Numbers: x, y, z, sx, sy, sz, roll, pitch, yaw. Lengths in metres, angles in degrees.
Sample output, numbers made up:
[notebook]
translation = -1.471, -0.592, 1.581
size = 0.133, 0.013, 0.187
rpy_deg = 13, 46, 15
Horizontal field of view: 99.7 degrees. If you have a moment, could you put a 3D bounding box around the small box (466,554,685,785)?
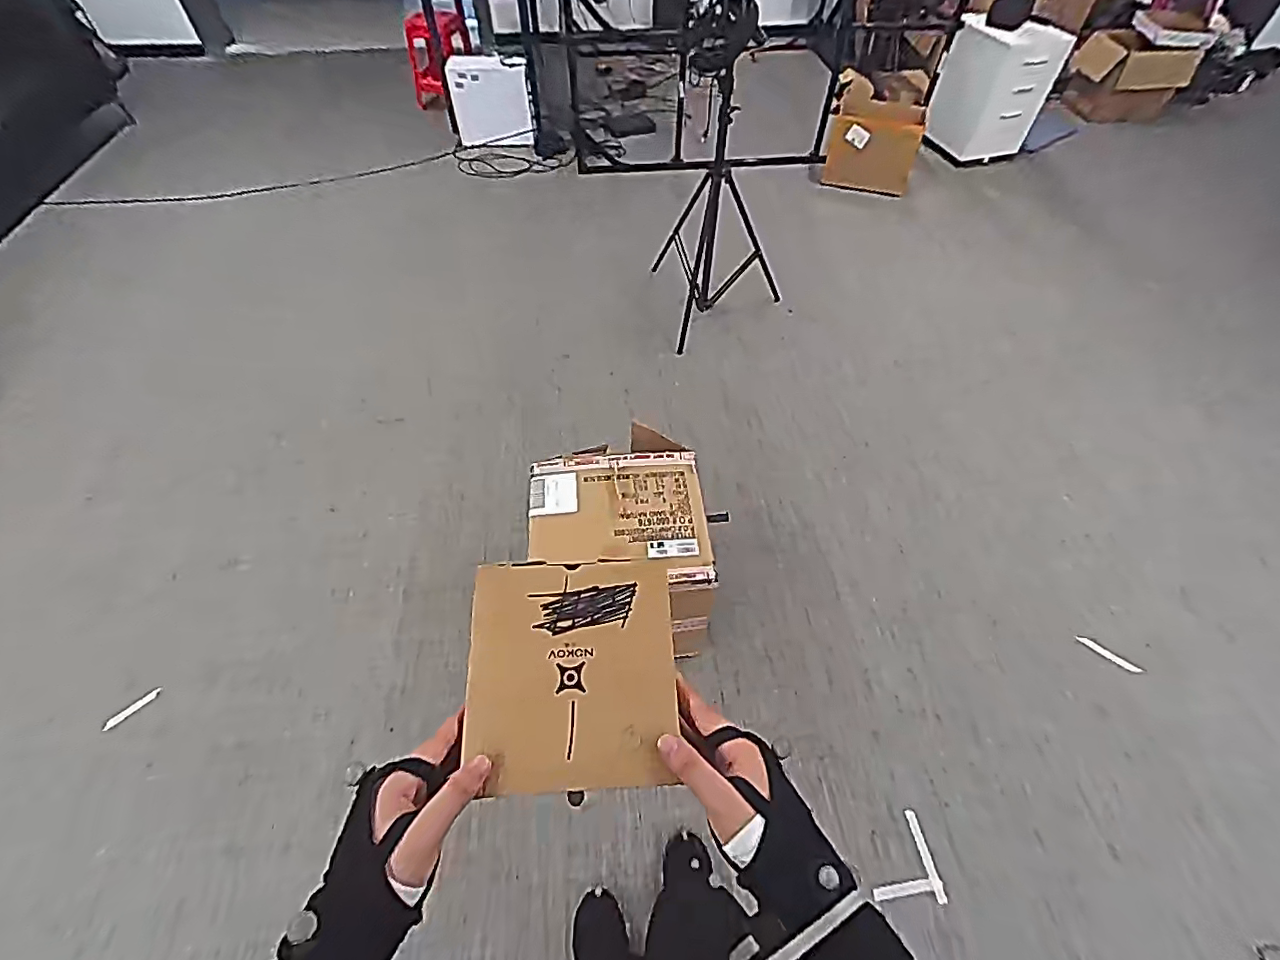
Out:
[small box]
translation = -0.054, 0.182, 0.509
size = 0.168, 0.176, 0.179
rpy_deg = -2, 64, -3
